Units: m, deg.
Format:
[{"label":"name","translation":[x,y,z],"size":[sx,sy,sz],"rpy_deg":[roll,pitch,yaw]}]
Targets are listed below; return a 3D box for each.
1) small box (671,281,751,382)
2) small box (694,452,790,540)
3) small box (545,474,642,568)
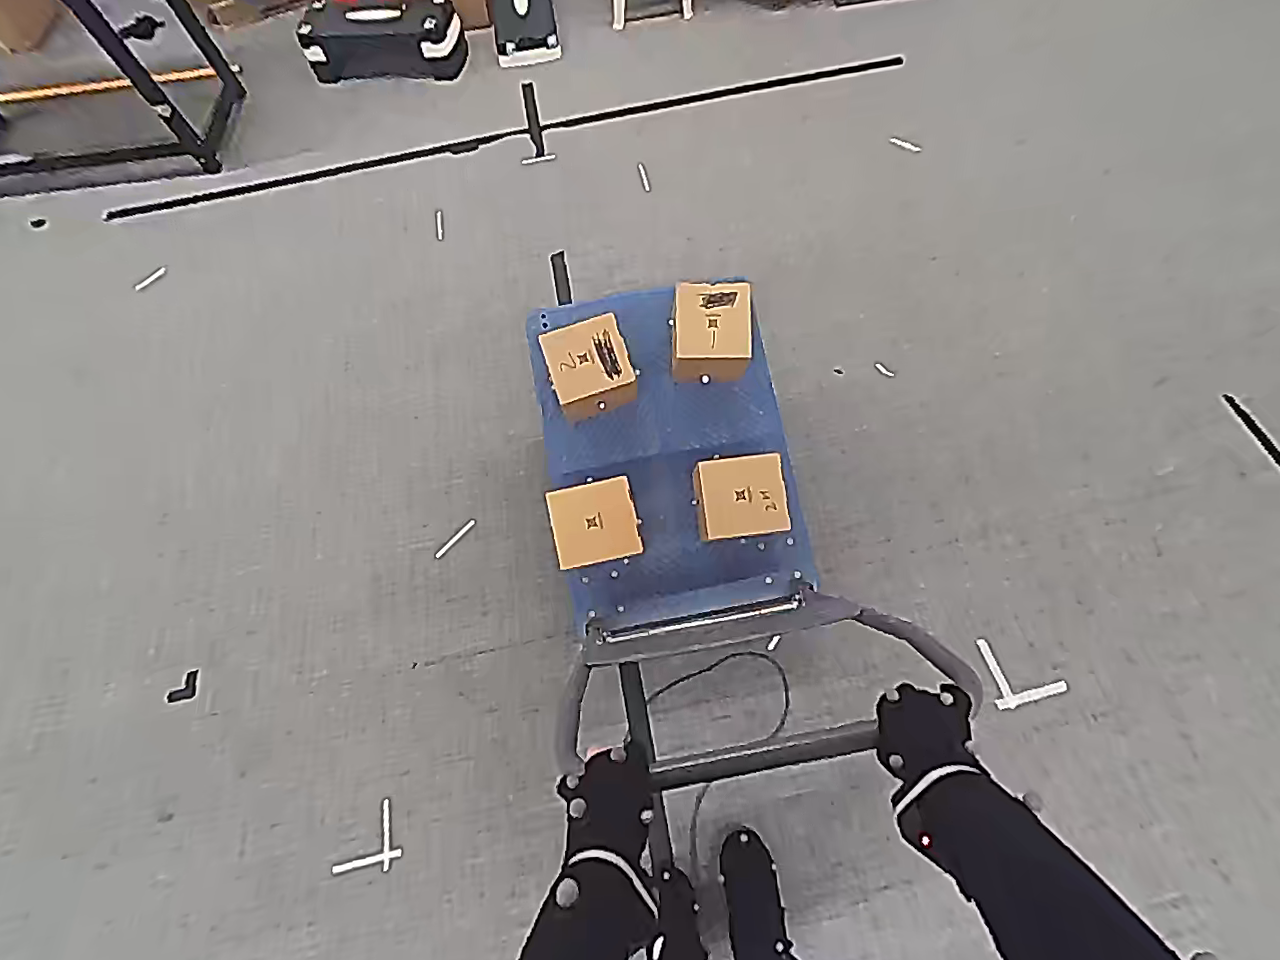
[{"label":"small box","translation":[0.158,-0.340,1.258],"size":[0.168,0.176,0.179],"rpy_deg":[0,83,0]},{"label":"small box","translation":[0.216,0.041,1.201],"size":[0.179,0.176,0.168],"rpy_deg":[-7,82,-1]},{"label":"small box","translation":[-0.097,0.097,1.194],"size":[0.179,0.176,0.168],"rpy_deg":[-13,82,-3]}]
